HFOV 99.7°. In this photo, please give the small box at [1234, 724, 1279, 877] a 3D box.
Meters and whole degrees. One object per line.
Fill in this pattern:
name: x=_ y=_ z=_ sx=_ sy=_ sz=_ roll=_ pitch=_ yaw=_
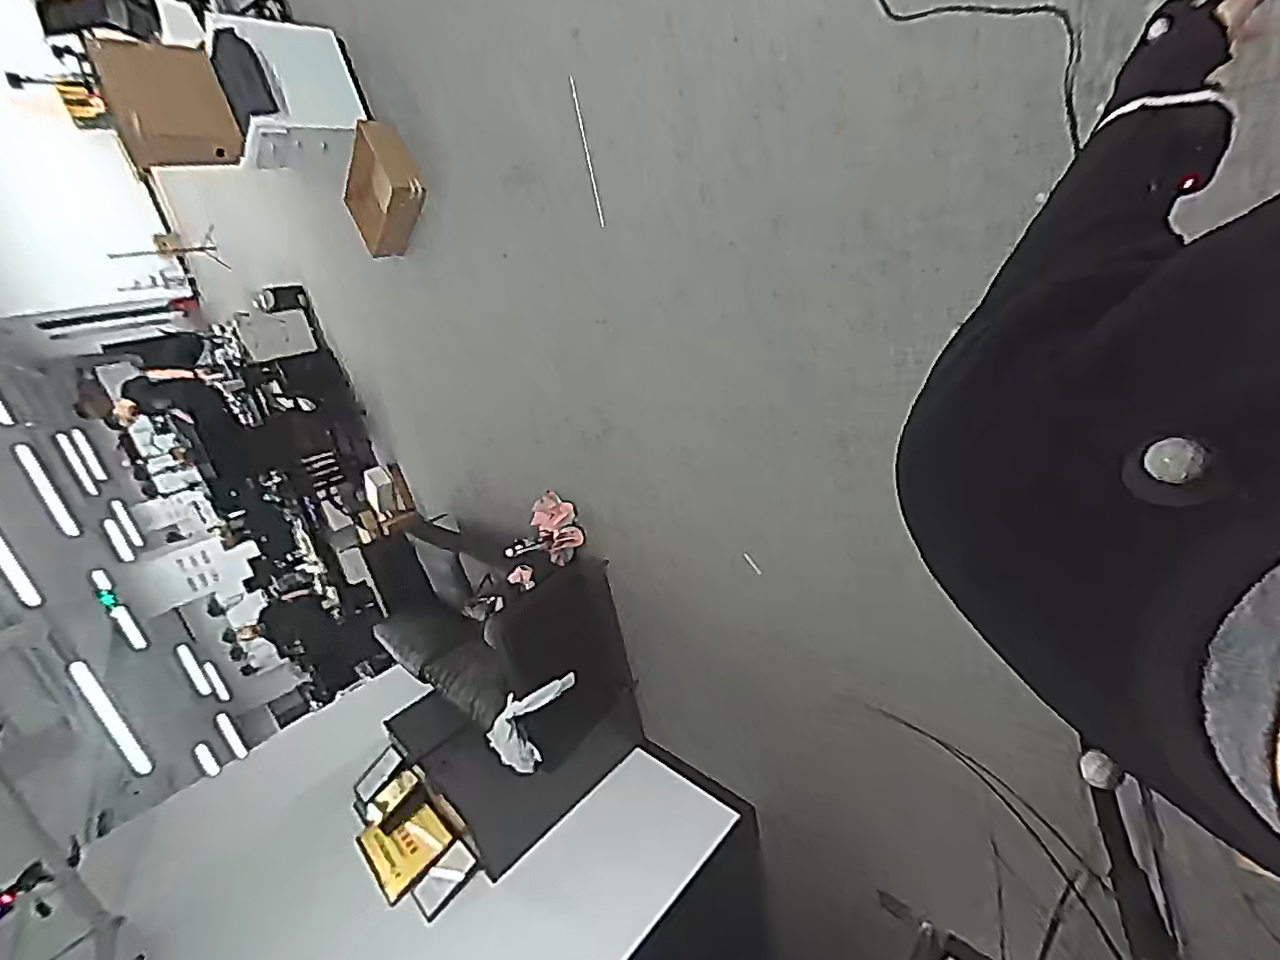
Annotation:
small box: x=1.070 y=0.520 z=0.850 sx=0.179 sy=0.176 sz=0.168 roll=2 pitch=113 yaw=48
